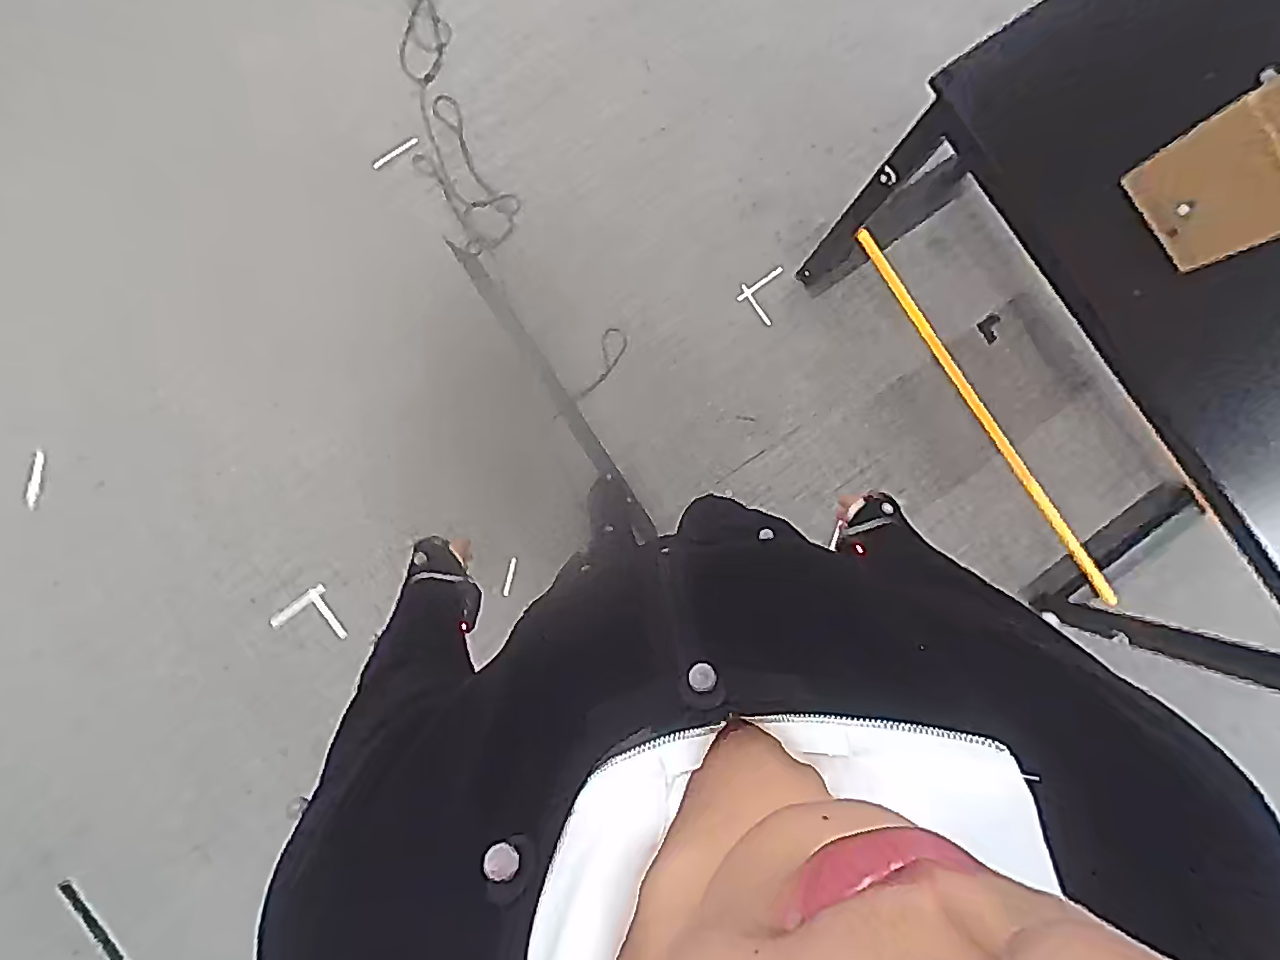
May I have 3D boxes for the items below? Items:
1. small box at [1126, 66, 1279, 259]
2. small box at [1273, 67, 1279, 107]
[{"bbox_3d":[0.817,-0.432,0.711,0.179,0.176,0.168,-34,90,-1],"label":"small box"},{"bbox_3d":[0.826,-0.442,0.548,0.179,0.176,0.168,-37,90,-1],"label":"small box"}]
